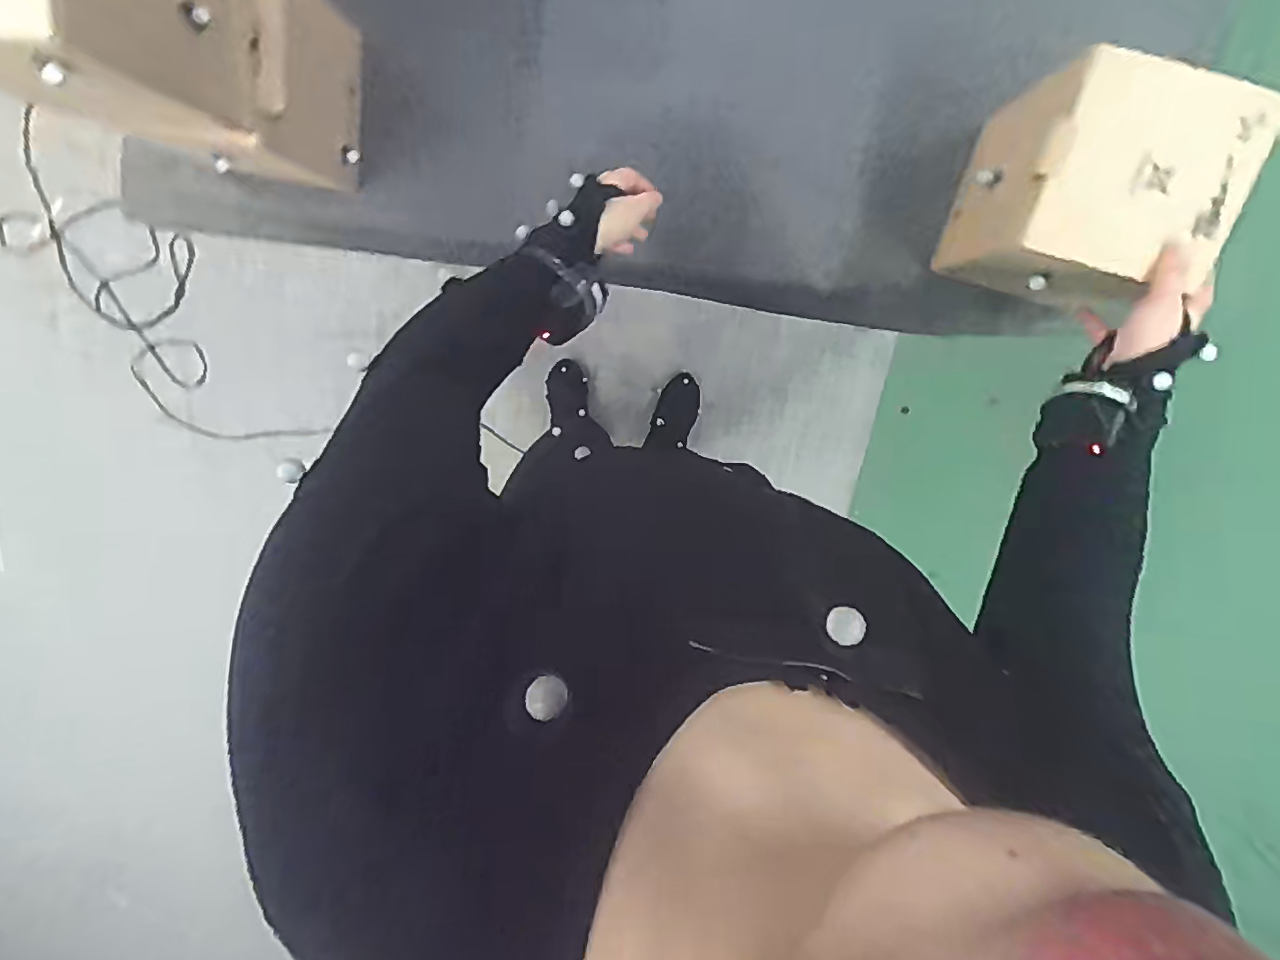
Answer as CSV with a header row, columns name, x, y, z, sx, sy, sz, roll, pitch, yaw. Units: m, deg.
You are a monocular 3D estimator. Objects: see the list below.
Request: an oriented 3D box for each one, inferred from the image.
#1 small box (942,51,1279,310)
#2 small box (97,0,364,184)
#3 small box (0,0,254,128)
name,x,y,z,sx,sy,sz,roll,pitch,yaw
small box,0.449,-0.278,0.547,0.179,0.176,0.168,16,103,-1
small box,-0.415,-0.427,0.565,0.179,0.176,0.168,11,105,1
small box,-0.439,-0.391,0.407,0.179,0.176,0.168,6,105,1
